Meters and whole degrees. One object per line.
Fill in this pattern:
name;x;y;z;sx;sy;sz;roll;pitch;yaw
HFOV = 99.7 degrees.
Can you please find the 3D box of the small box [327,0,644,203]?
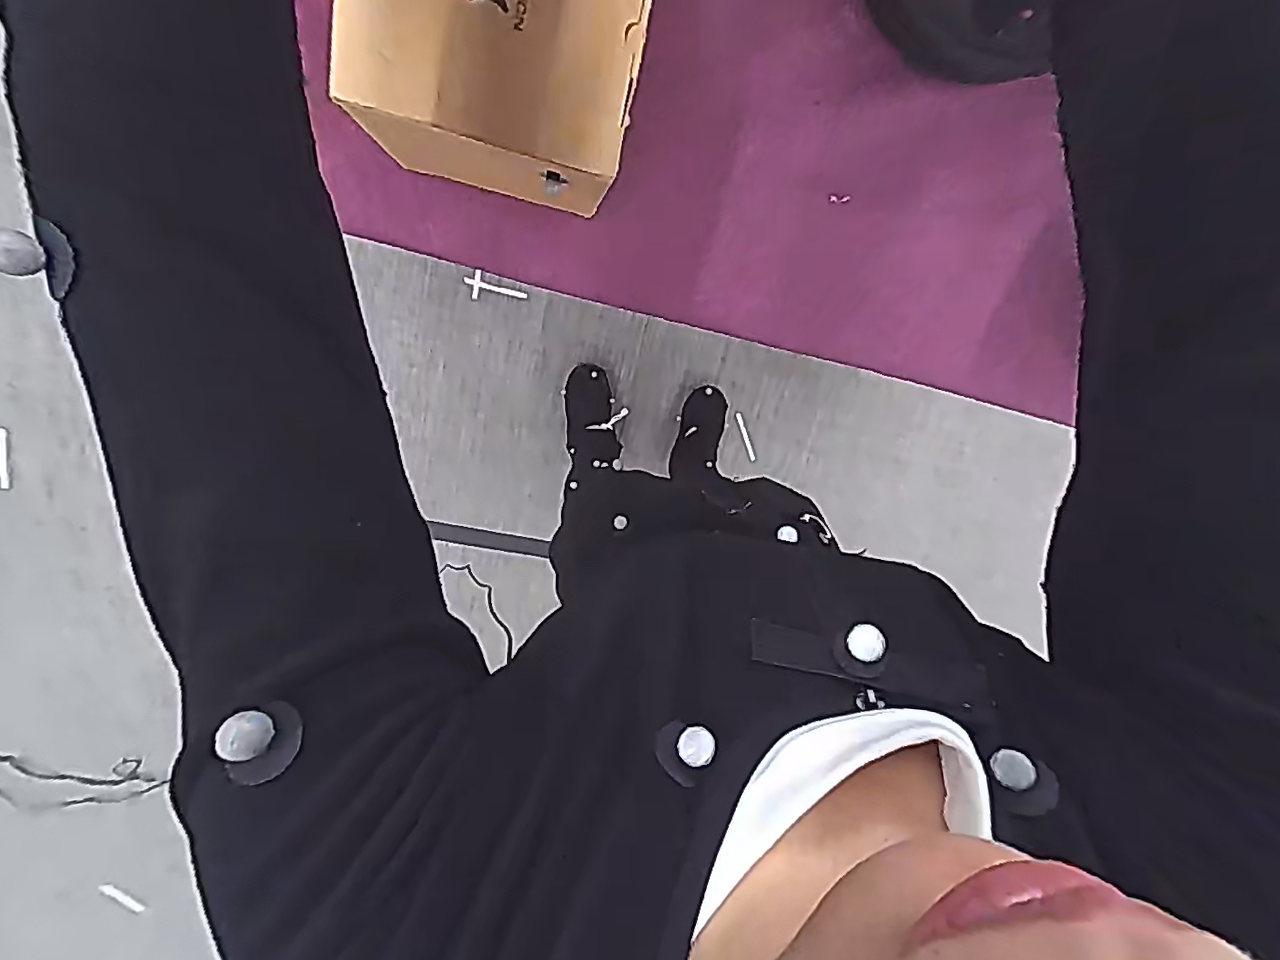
small box;-0.098;-0.318;0.391;0.179;0.176;0.168;8;106;-14
